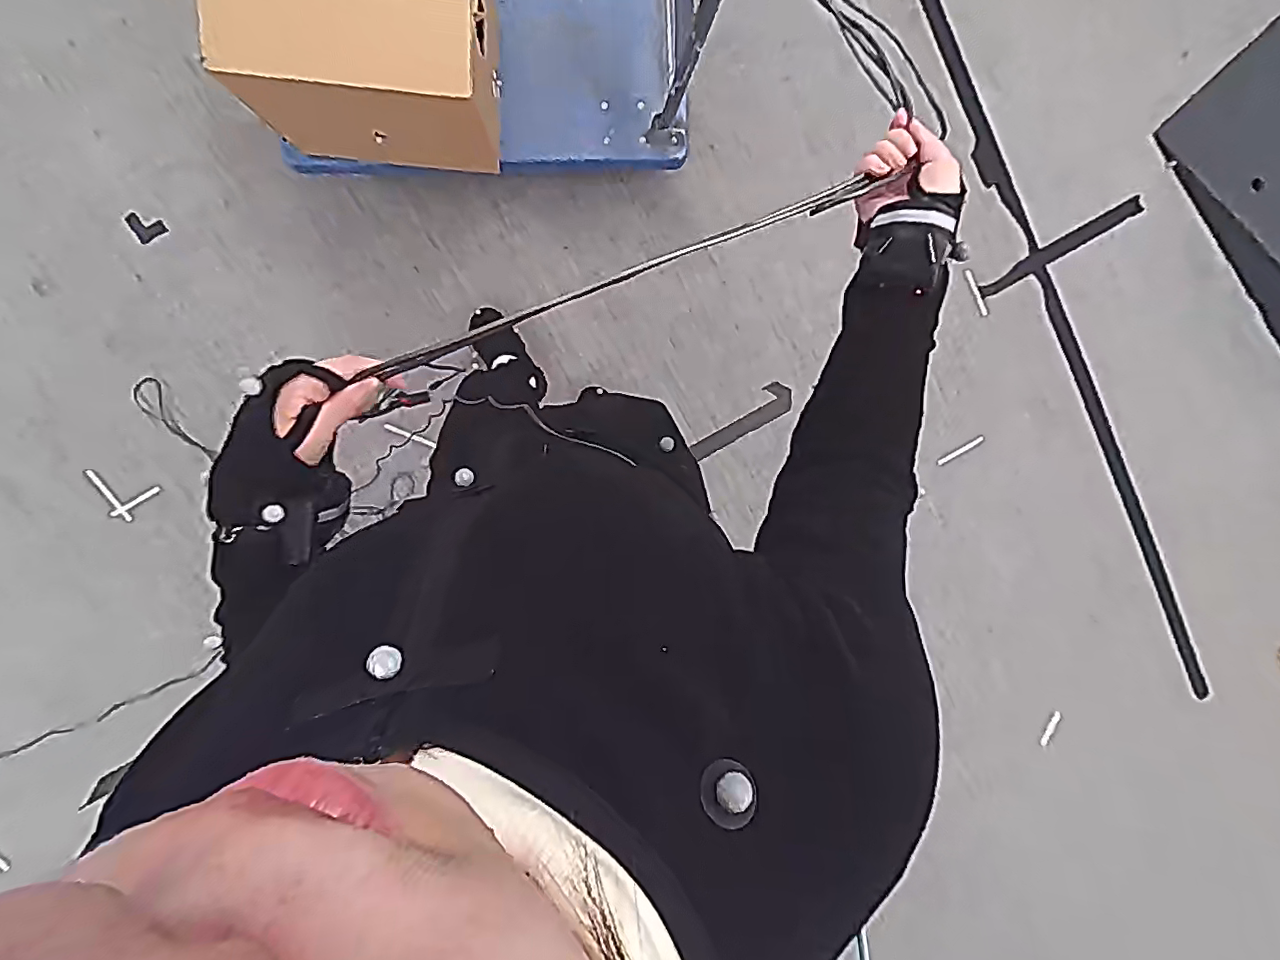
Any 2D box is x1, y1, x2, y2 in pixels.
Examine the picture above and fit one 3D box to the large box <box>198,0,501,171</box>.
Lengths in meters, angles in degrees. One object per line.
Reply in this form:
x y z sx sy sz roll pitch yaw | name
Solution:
-0.476 -0.787 0.972 0.408 0.320 0.320 2 98 -6 | large box
